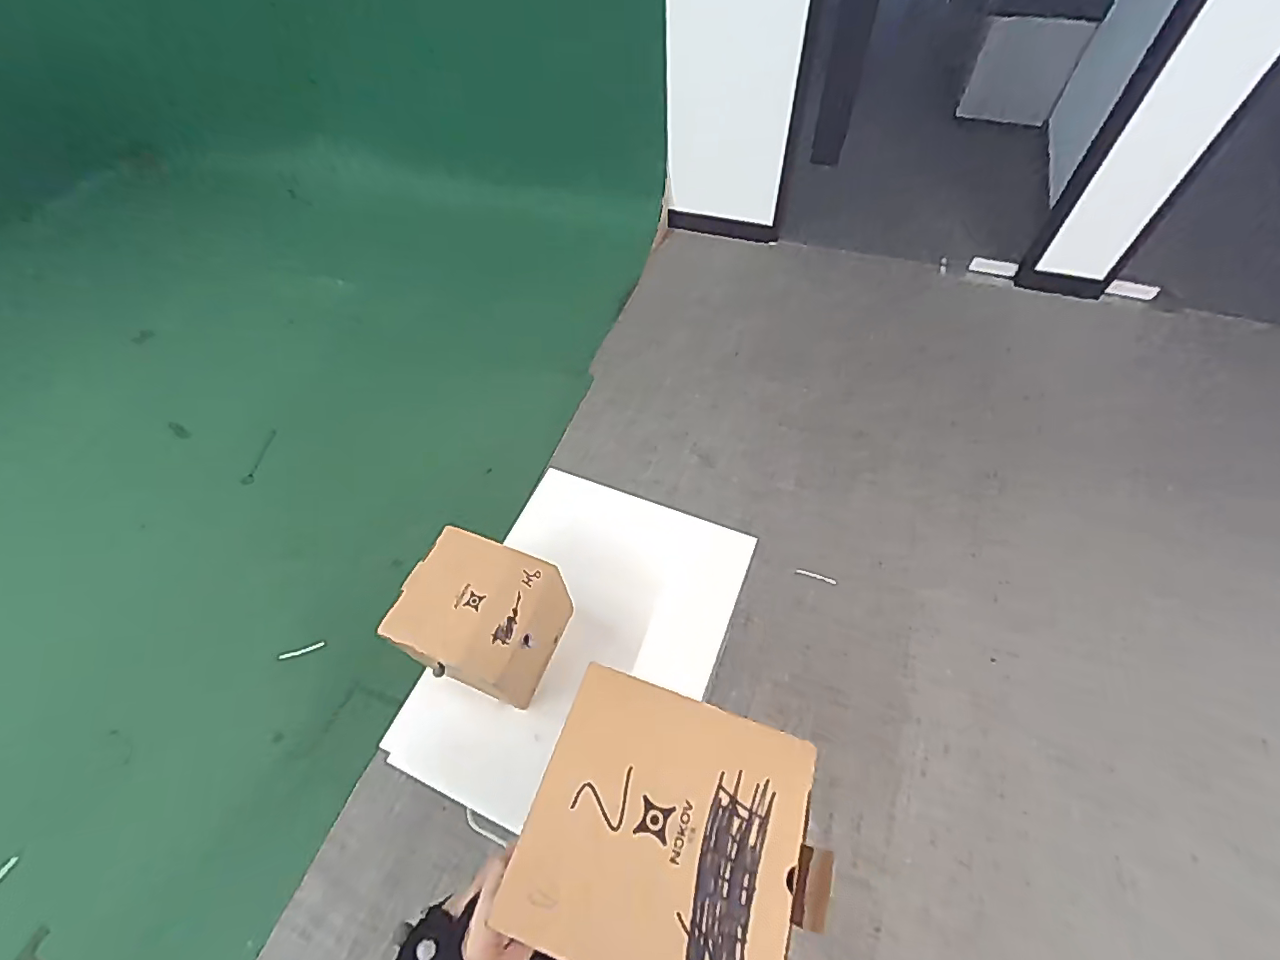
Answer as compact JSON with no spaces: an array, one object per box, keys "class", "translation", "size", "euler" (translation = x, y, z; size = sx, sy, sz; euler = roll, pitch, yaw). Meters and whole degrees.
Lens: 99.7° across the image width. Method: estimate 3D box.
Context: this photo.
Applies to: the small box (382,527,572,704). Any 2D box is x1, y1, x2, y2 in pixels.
[{"class":"small box","translation":[-0.215,0.197,0.765],"size":[0.179,0.176,0.168],"euler":[18,59,14]}]
